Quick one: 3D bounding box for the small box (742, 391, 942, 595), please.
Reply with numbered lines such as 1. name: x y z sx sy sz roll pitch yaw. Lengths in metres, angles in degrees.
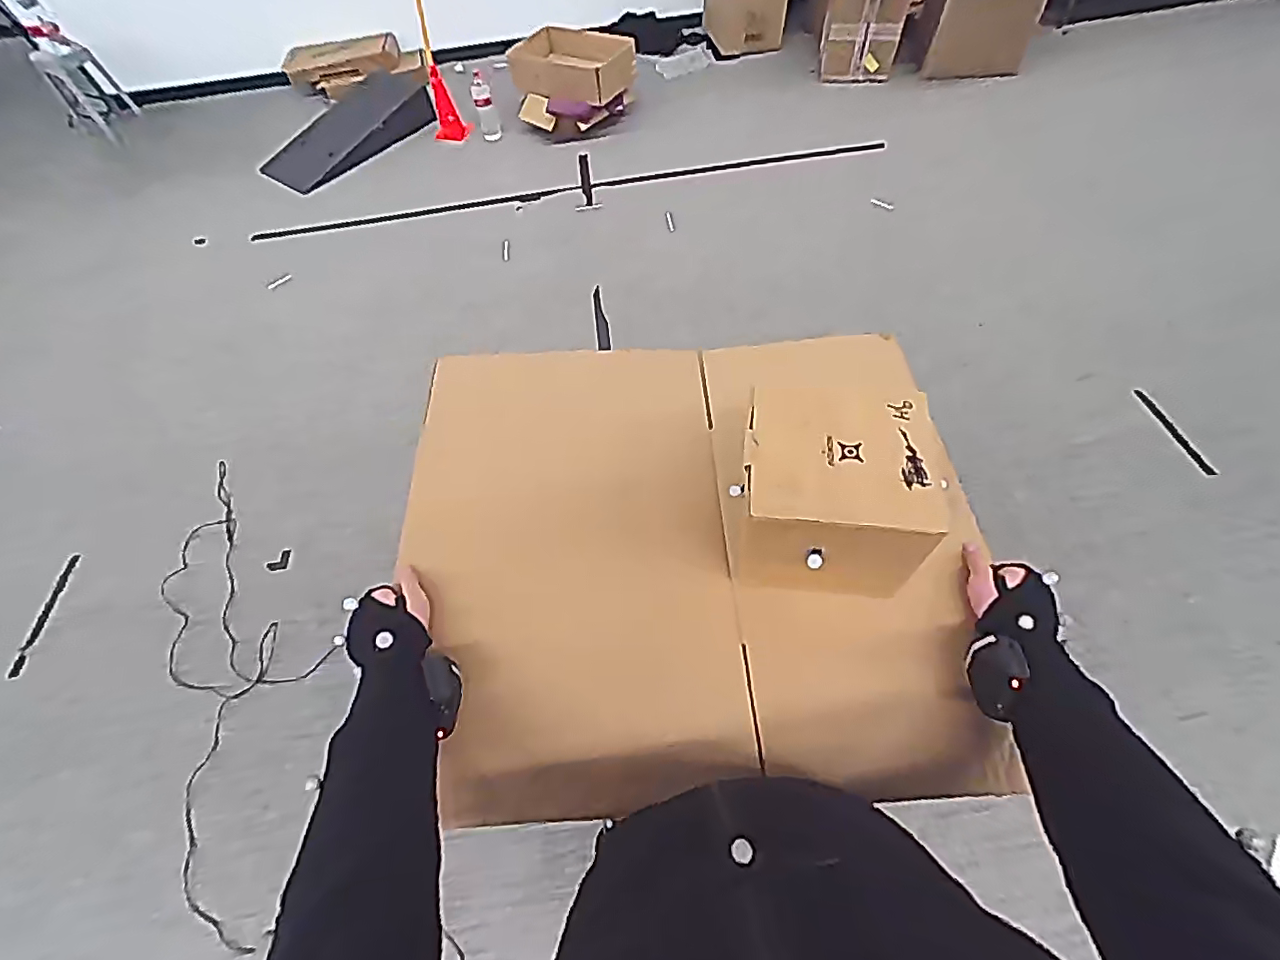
1. small box: 0.207 0.019 0.605 0.179 0.176 0.168 3 59 10
